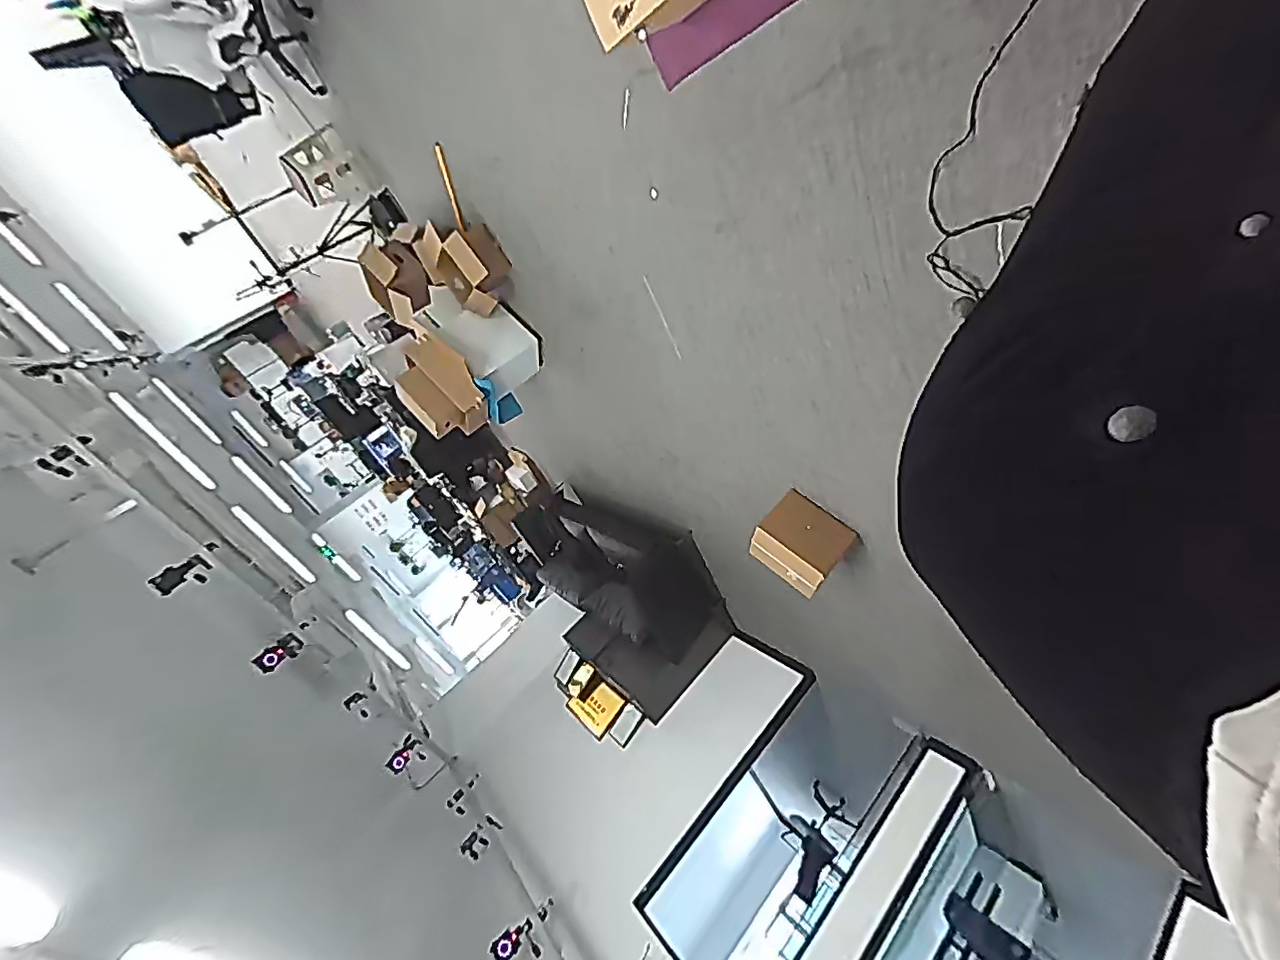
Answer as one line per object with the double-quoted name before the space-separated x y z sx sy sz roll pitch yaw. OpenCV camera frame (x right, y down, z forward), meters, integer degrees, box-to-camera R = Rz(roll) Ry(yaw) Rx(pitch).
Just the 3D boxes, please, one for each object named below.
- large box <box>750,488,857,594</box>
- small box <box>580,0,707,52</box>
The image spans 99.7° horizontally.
"large box" 0.845 0.316 2.833 0.408 0.320 0.320 37 157 23
"small box" 0.011 -0.754 0.755 0.168 0.176 0.179 16 141 53
